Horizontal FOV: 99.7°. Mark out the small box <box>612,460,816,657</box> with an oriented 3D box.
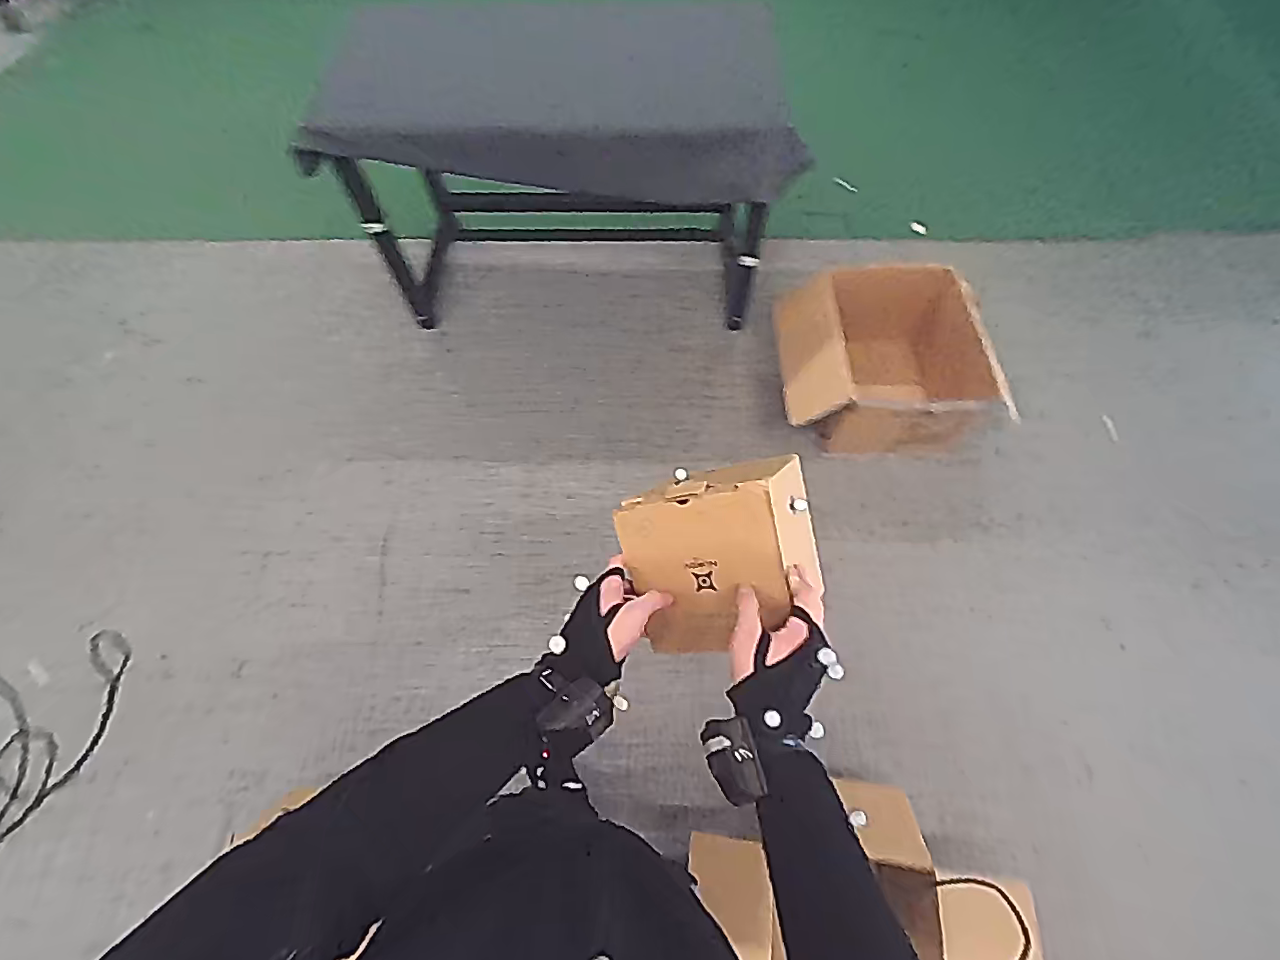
[{"bbox_3d":[0.093,0.079,0.612,0.168,0.176,0.179,-11,97,27],"label":"small box"}]
